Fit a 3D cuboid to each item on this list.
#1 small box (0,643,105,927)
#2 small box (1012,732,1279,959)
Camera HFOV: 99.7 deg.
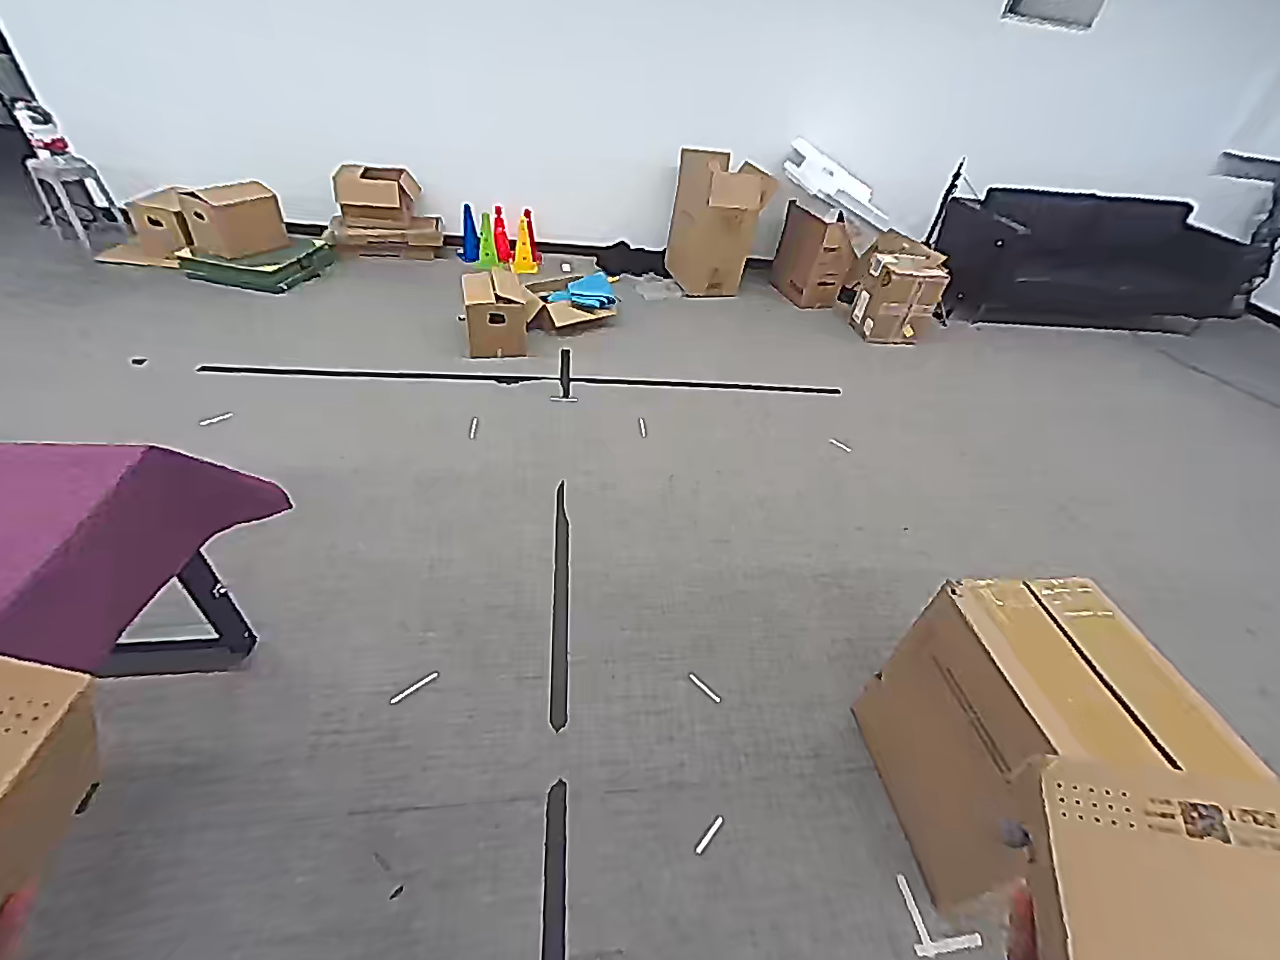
[{"bbox_3d":[-0.395,0.173,0.245,0.168,0.179,0.176,22,40,-24],"label":"small box"},{"bbox_3d":[0.302,0.237,0.273,0.168,0.179,0.176,-7,58,28],"label":"small box"}]
